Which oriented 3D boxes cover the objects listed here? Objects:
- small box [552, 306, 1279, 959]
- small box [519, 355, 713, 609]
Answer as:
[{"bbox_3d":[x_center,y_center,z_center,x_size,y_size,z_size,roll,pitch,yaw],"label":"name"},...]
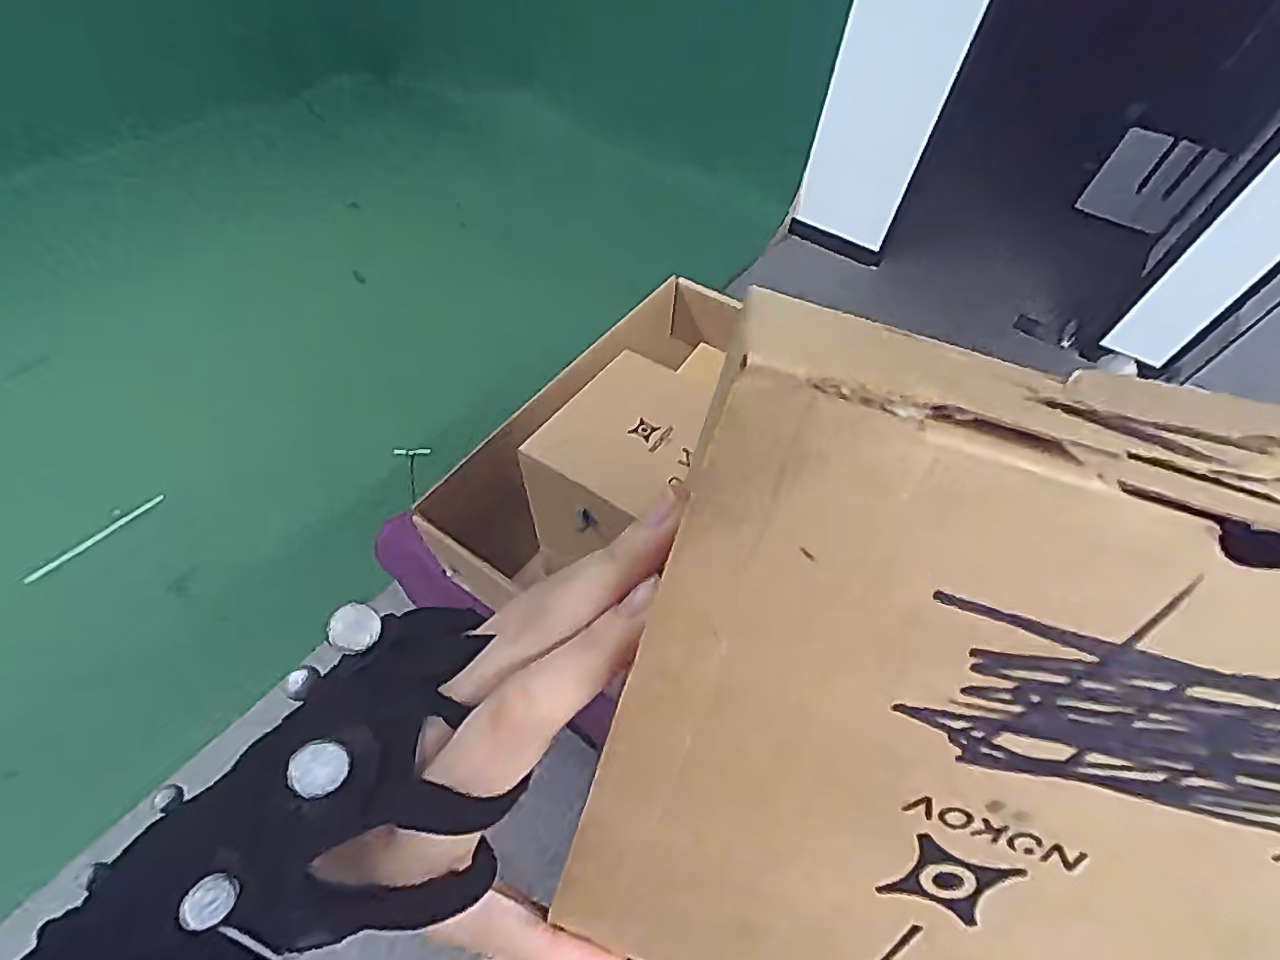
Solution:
[{"bbox_3d":[0.087,0.049,0.194,0.168,0.179,0.176,19,26,5],"label":"small box"},{"bbox_3d":[0.004,0.011,0.552,0.179,0.176,0.168,31,59,18],"label":"small box"}]
